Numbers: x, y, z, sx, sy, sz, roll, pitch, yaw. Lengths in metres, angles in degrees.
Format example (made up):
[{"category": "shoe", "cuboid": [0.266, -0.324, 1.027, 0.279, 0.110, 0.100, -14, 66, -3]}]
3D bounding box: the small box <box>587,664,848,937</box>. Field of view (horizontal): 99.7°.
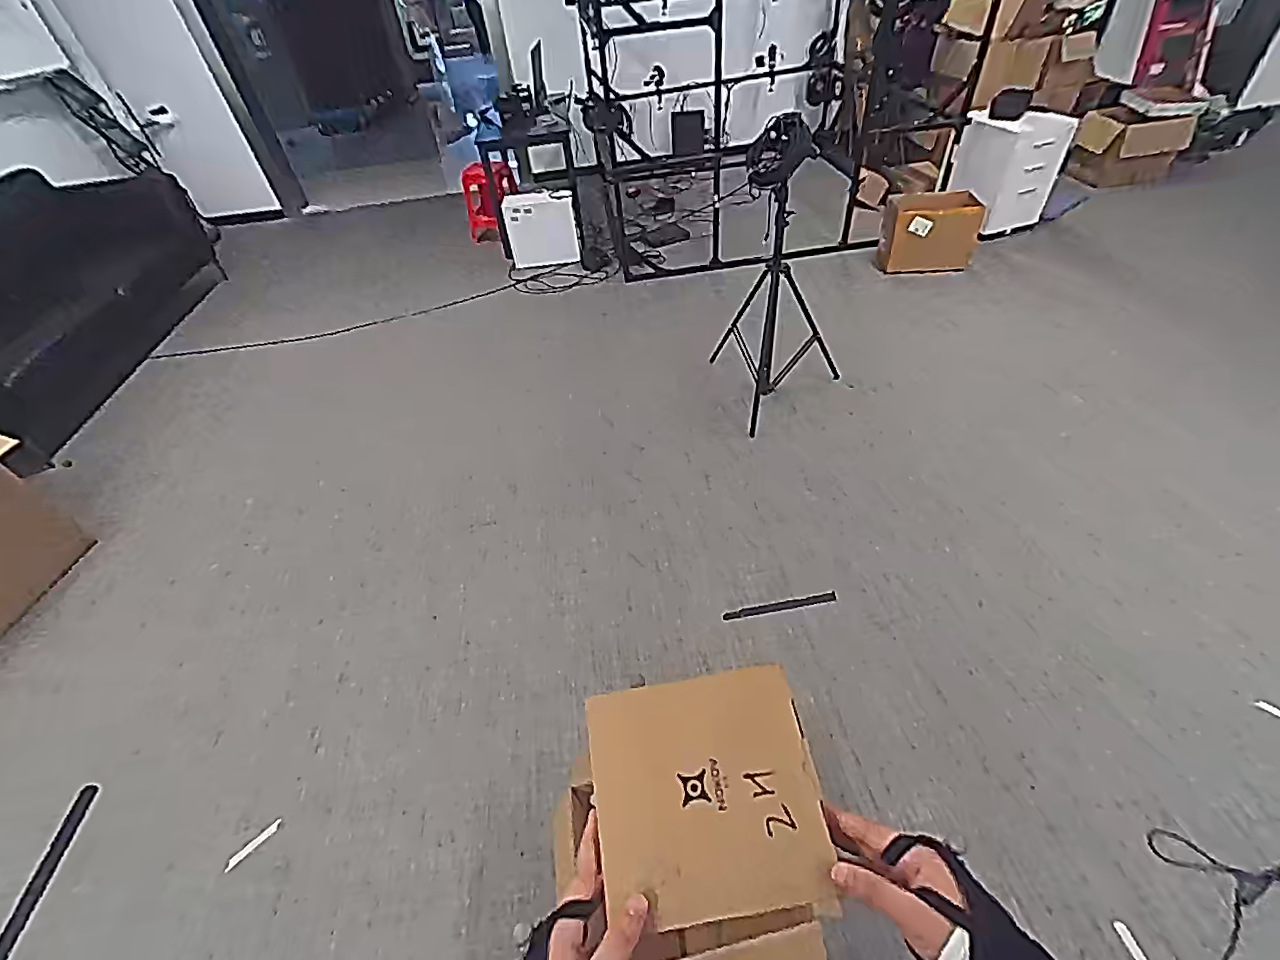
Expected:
[{"category": "small box", "cuboid": [0.057, 0.279, 0.487, 0.179, 0.176, 0.168, -9, 60, -2]}]
